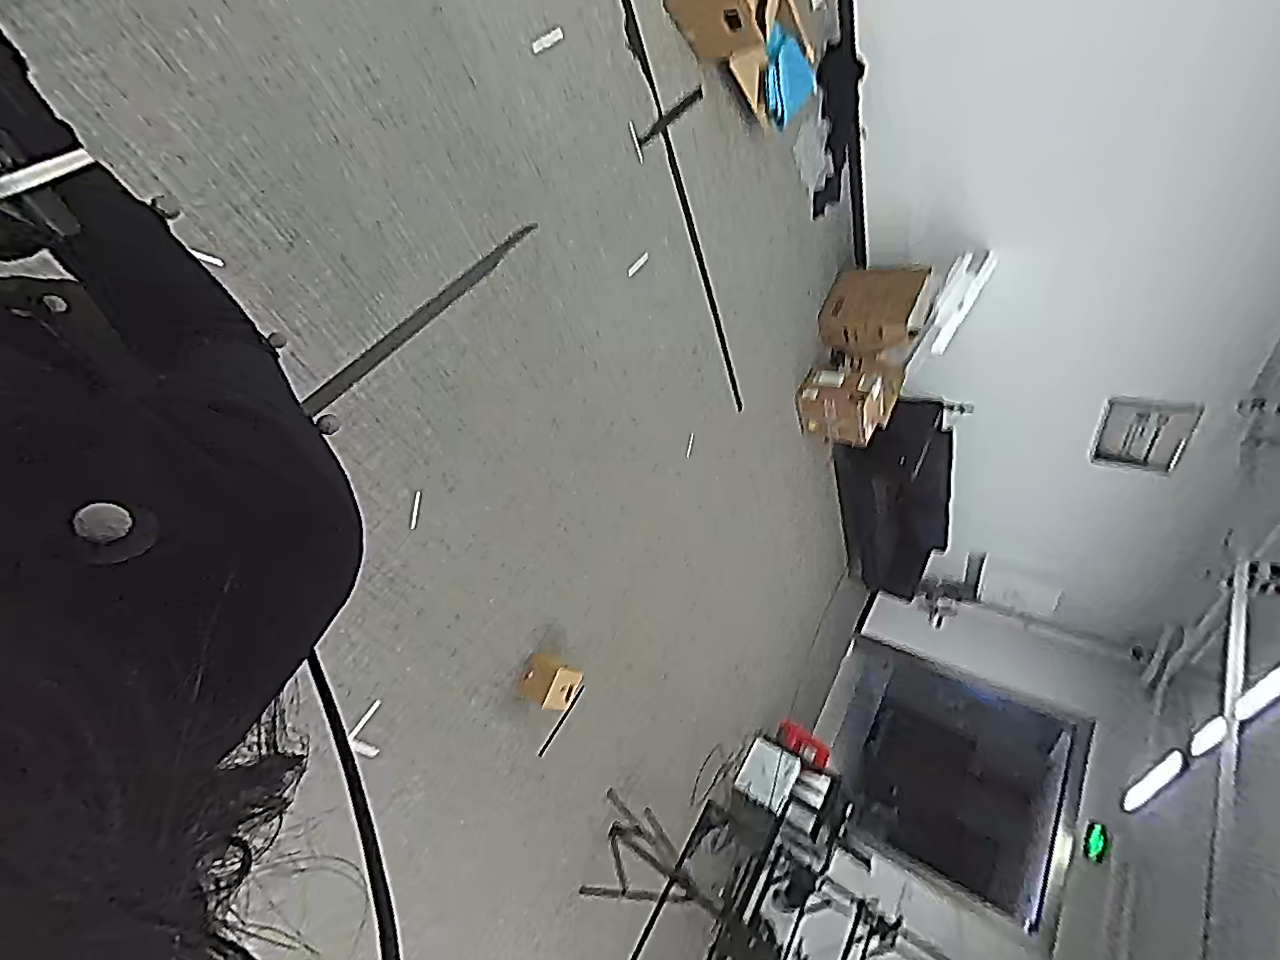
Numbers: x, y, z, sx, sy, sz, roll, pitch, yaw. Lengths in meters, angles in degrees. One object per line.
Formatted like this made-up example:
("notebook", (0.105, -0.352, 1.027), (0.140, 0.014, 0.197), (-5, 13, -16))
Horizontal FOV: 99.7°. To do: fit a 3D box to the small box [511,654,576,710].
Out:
("small box", (-0.411, 0.859, 2.301), (0.179, 0.176, 0.168), (38, 72, -52))
